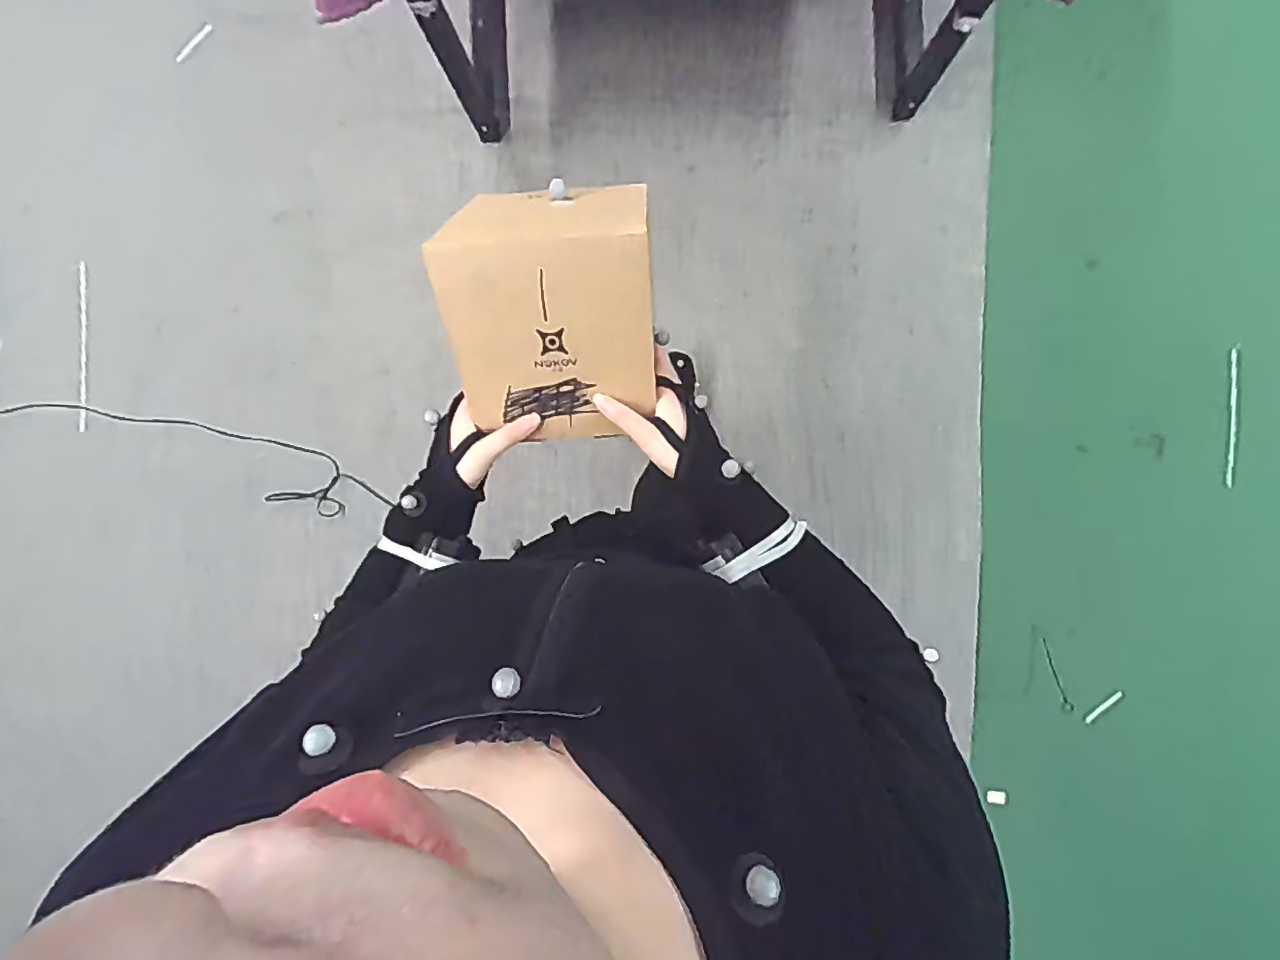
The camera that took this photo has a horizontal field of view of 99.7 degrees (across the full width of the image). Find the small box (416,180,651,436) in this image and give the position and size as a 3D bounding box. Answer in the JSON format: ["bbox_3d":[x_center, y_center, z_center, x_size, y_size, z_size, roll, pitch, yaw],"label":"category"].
[{"bbox_3d":[-0.075,-0.160,0.500,0.168,0.176,0.179,-3,128,3],"label":"small box"}]
